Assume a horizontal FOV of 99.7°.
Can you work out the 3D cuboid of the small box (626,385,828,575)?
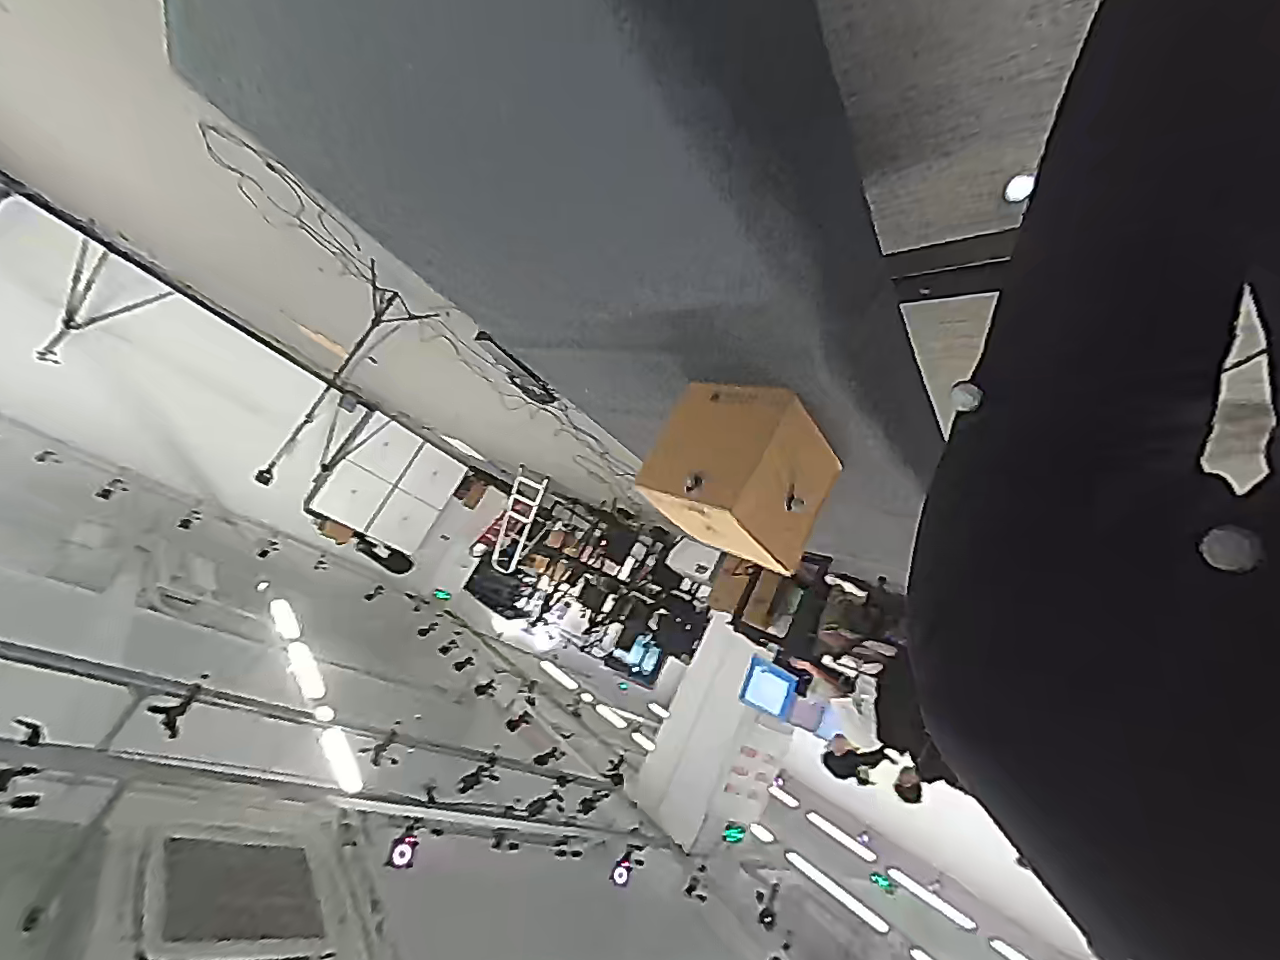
[{"bbox_3d":[0.122,-0.003,0.716,0.168,0.176,0.179,15,161,47],"label":"small box"}]
